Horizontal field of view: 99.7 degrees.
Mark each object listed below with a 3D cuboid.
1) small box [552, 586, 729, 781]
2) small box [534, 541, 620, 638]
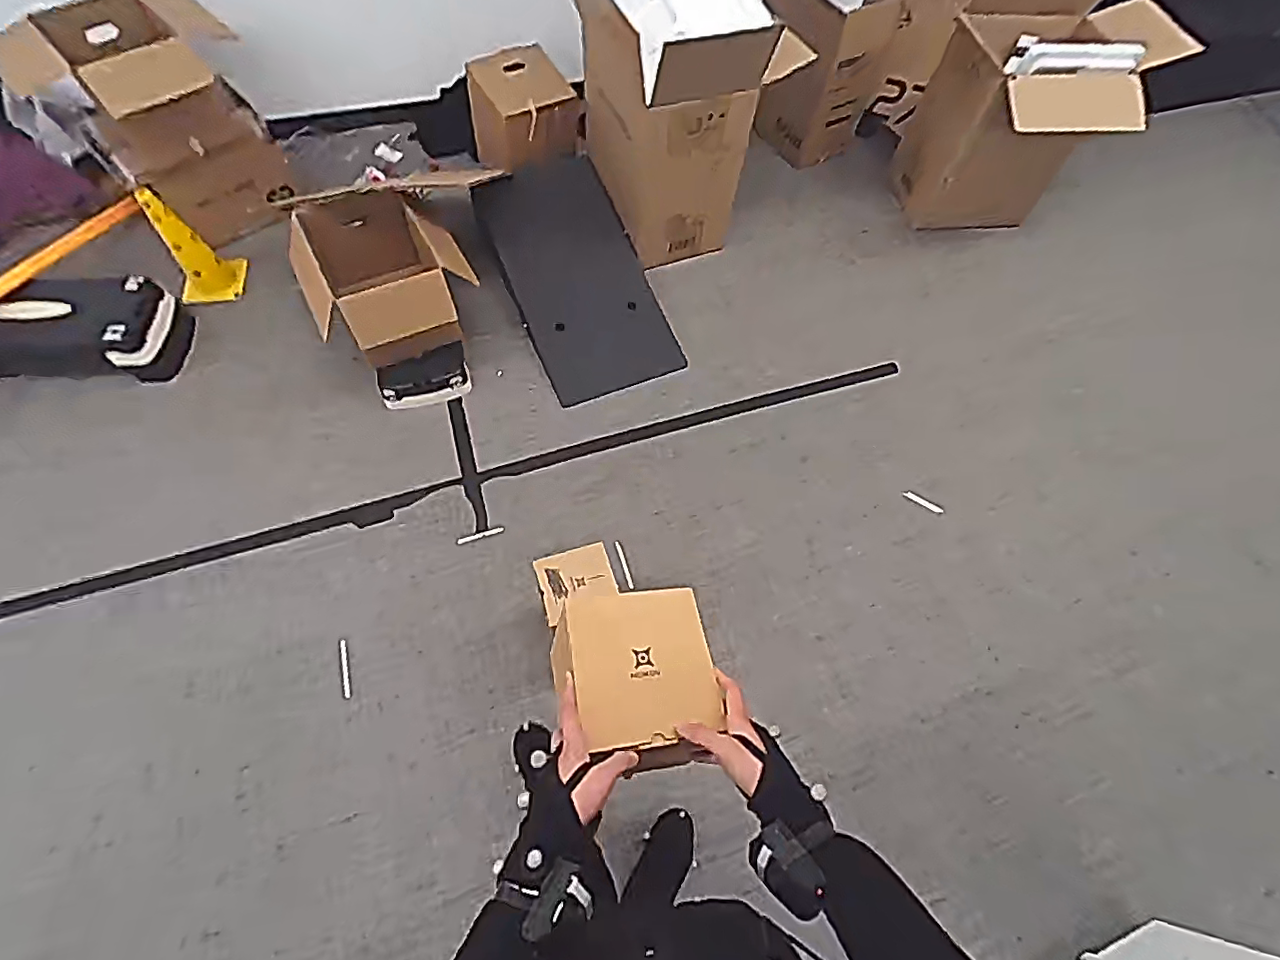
[{"bbox_3d":[-0.014,0.251,0.671,0.168,0.176,0.179,-2,54,-16],"label":"small box"},{"bbox_3d":[-0.148,0.274,1.321,0.179,0.176,0.168,-15,65,-13],"label":"small box"}]
